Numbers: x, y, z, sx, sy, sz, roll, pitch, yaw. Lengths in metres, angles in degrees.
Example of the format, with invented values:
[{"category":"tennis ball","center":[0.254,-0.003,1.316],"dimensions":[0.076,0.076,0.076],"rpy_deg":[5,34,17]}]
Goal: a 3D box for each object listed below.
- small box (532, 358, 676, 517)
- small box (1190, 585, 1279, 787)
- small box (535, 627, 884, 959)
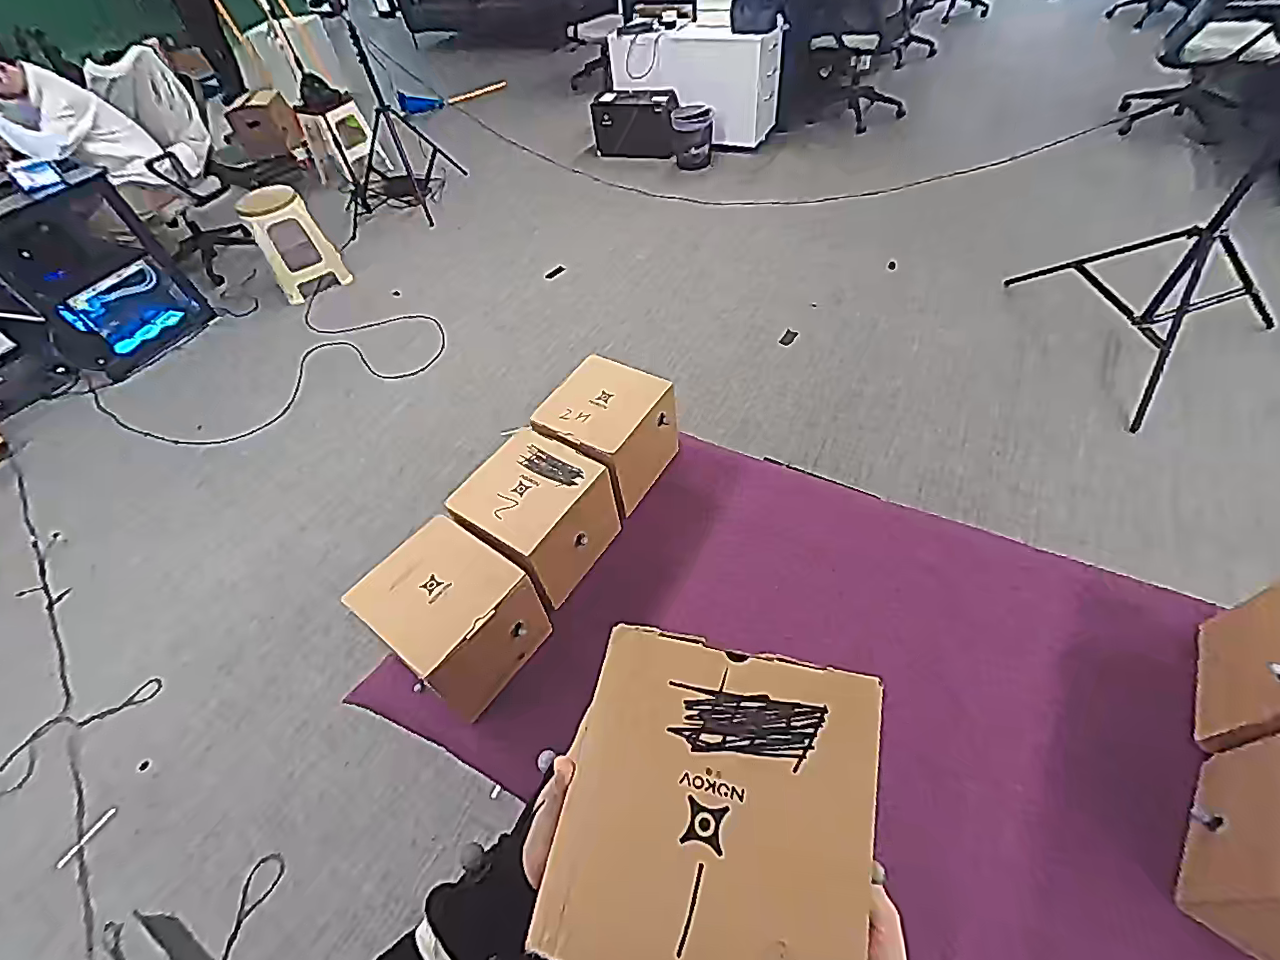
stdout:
[{"category":"small box","center":[-0.051,-0.071,0.919],"dimensions":[0.168,0.176,0.179],"rpy_deg":[24,59,24]},{"category":"small box","center":[0.747,0.231,0.579],"dimensions":[0.168,0.176,0.179],"rpy_deg":[24,57,23]},{"category":"small box","center":[0.058,0.222,0.365],"dimensions":[0.168,0.176,0.179],"rpy_deg":[7,62,19]}]
